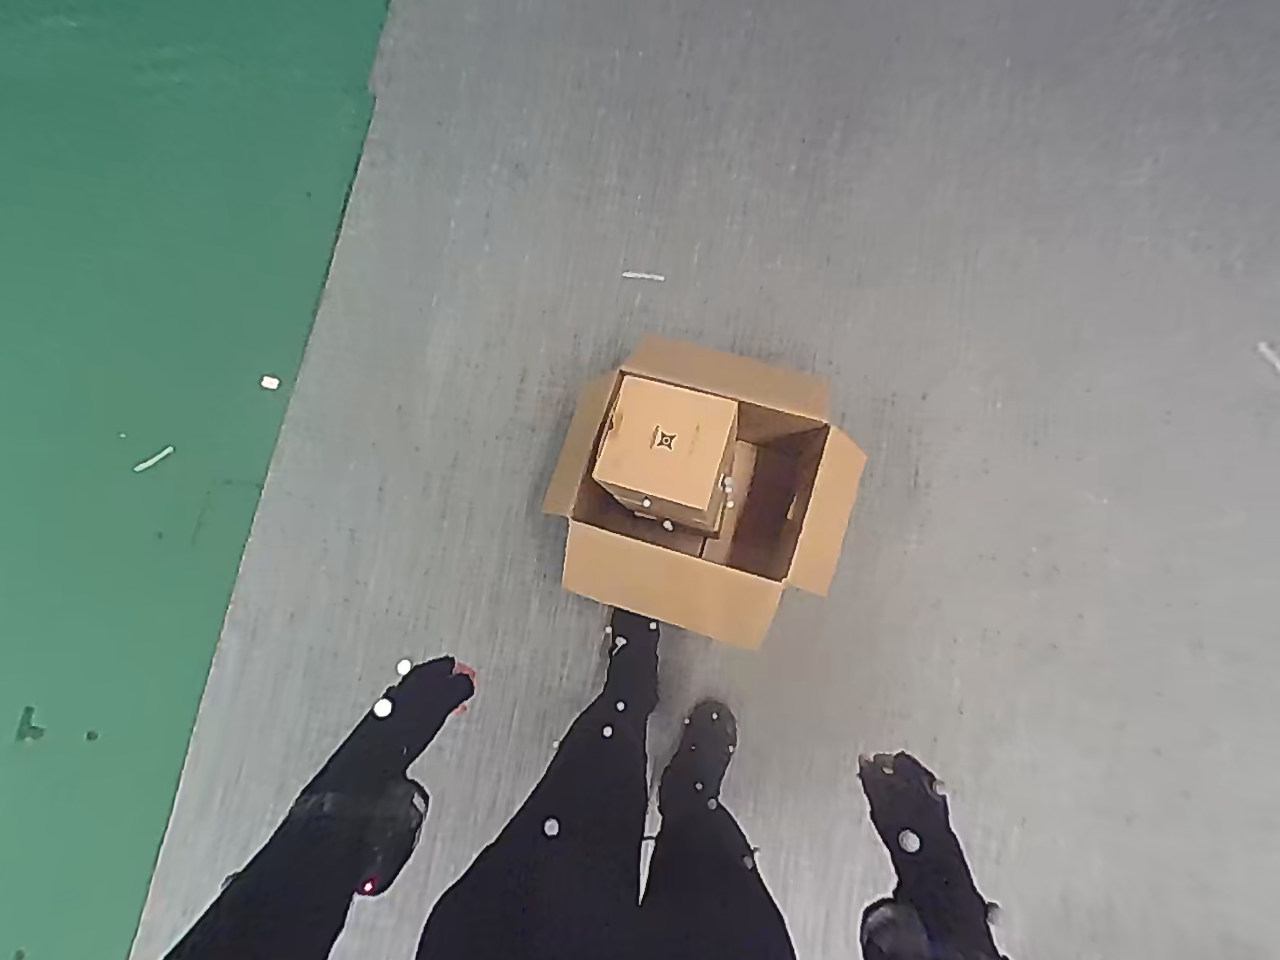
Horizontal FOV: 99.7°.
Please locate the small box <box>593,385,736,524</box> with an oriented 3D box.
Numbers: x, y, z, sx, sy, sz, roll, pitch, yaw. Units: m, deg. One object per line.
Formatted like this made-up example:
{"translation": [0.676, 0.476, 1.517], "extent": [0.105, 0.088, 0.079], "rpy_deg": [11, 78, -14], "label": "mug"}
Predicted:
{"translation": [0.046, -0.032, 0.863], "extent": [0.179, 0.176, 0.168], "rpy_deg": [15, 83, 11], "label": "small box"}
